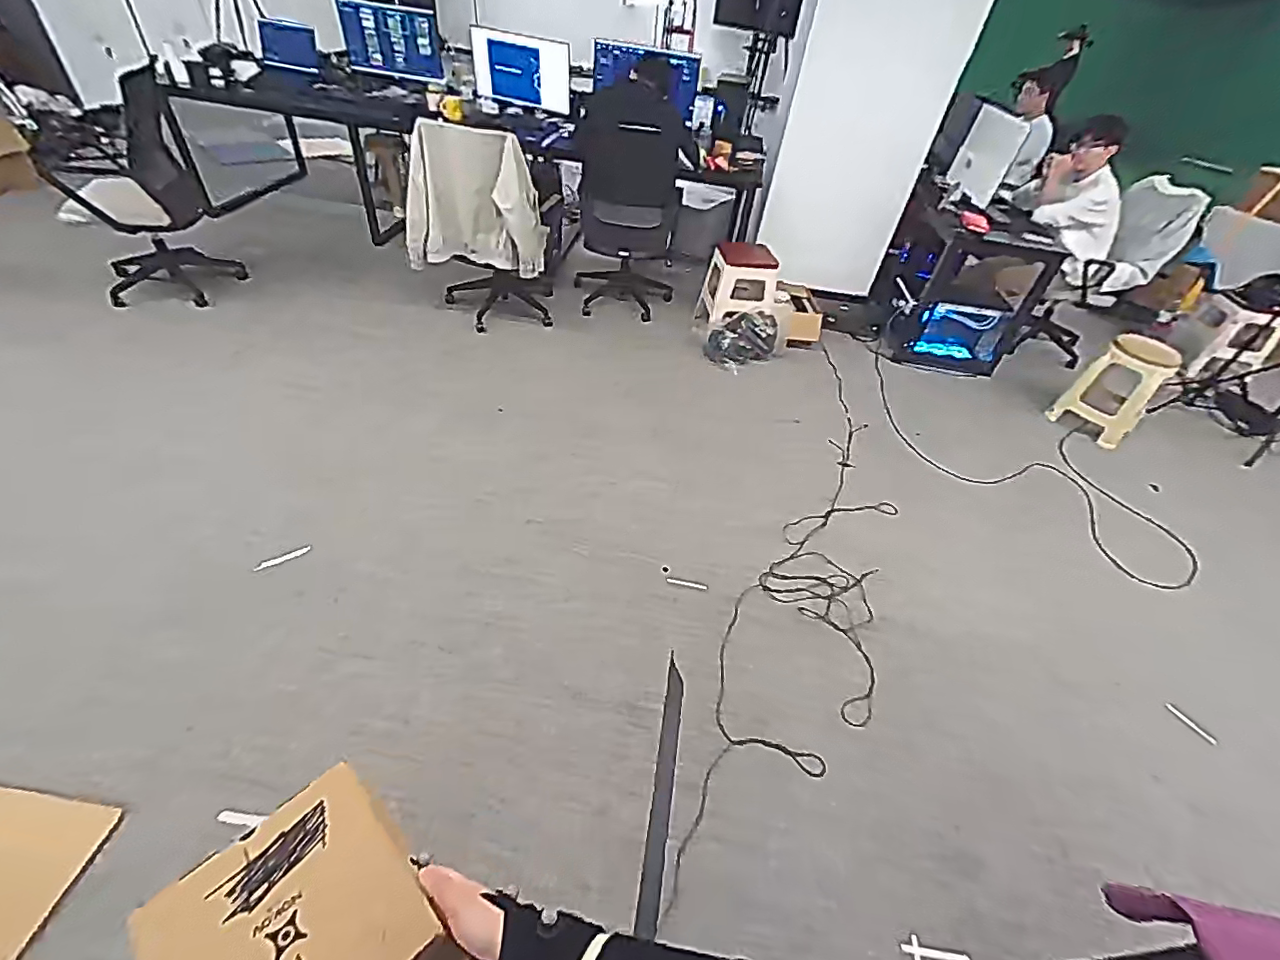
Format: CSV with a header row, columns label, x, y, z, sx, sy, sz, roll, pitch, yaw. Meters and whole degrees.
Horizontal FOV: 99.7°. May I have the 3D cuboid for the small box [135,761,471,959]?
label,x,y,z,sx,sy,sz,roll,pitch,yaw
small box,-0.270,0.394,0.461,0.168,0.176,0.179,-33,53,-32
